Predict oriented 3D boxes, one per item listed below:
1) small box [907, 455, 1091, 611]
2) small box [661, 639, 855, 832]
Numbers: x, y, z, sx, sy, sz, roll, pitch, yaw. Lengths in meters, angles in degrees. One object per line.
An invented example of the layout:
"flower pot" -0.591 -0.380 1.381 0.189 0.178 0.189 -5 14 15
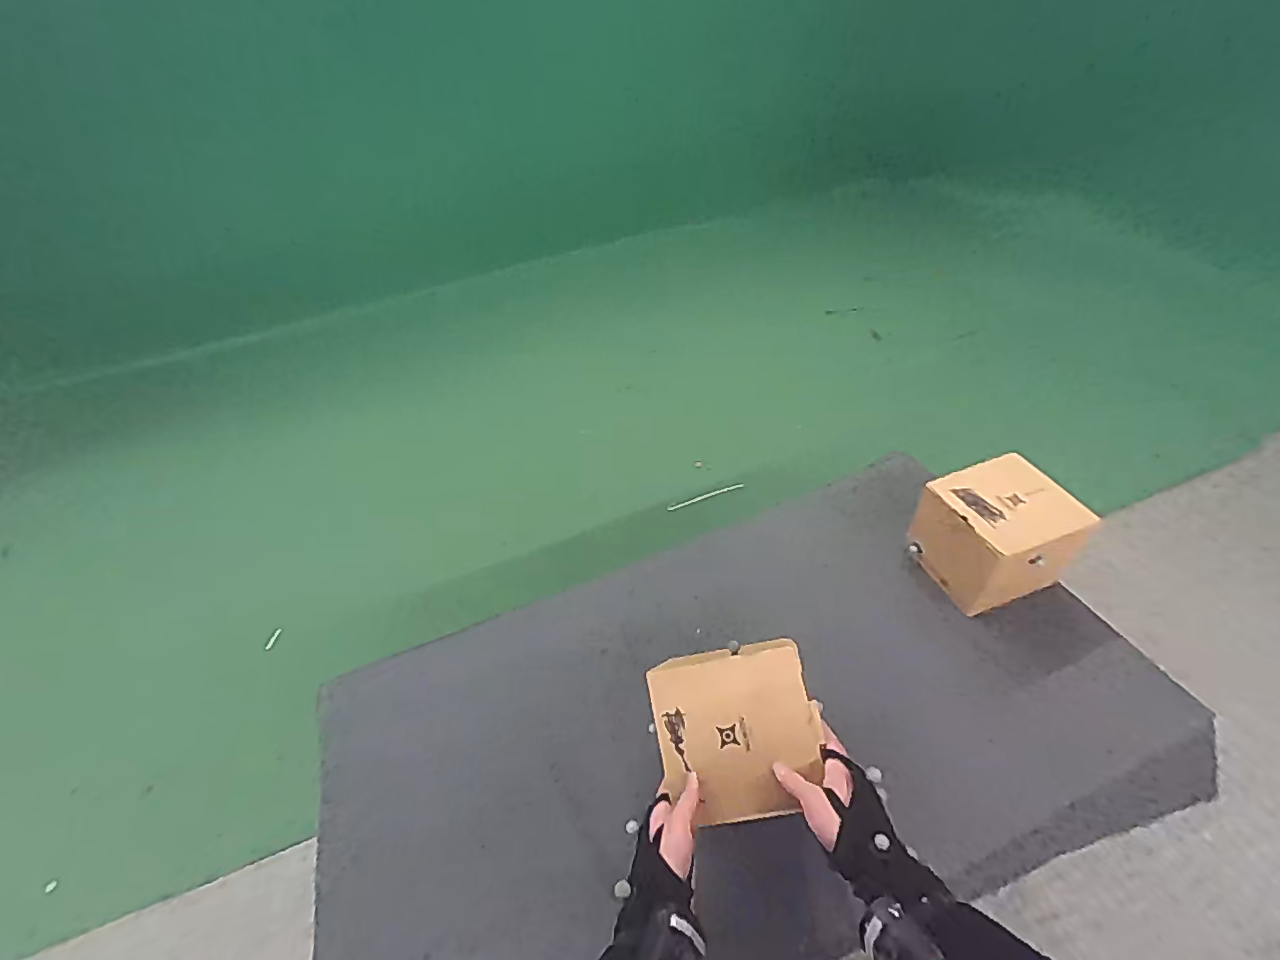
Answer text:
"small box" 0.576 0.090 0.901 0.179 0.176 0.168 -17 46 -12
"small box" 0.132 0.289 0.647 0.179 0.176 0.168 -13 74 7
